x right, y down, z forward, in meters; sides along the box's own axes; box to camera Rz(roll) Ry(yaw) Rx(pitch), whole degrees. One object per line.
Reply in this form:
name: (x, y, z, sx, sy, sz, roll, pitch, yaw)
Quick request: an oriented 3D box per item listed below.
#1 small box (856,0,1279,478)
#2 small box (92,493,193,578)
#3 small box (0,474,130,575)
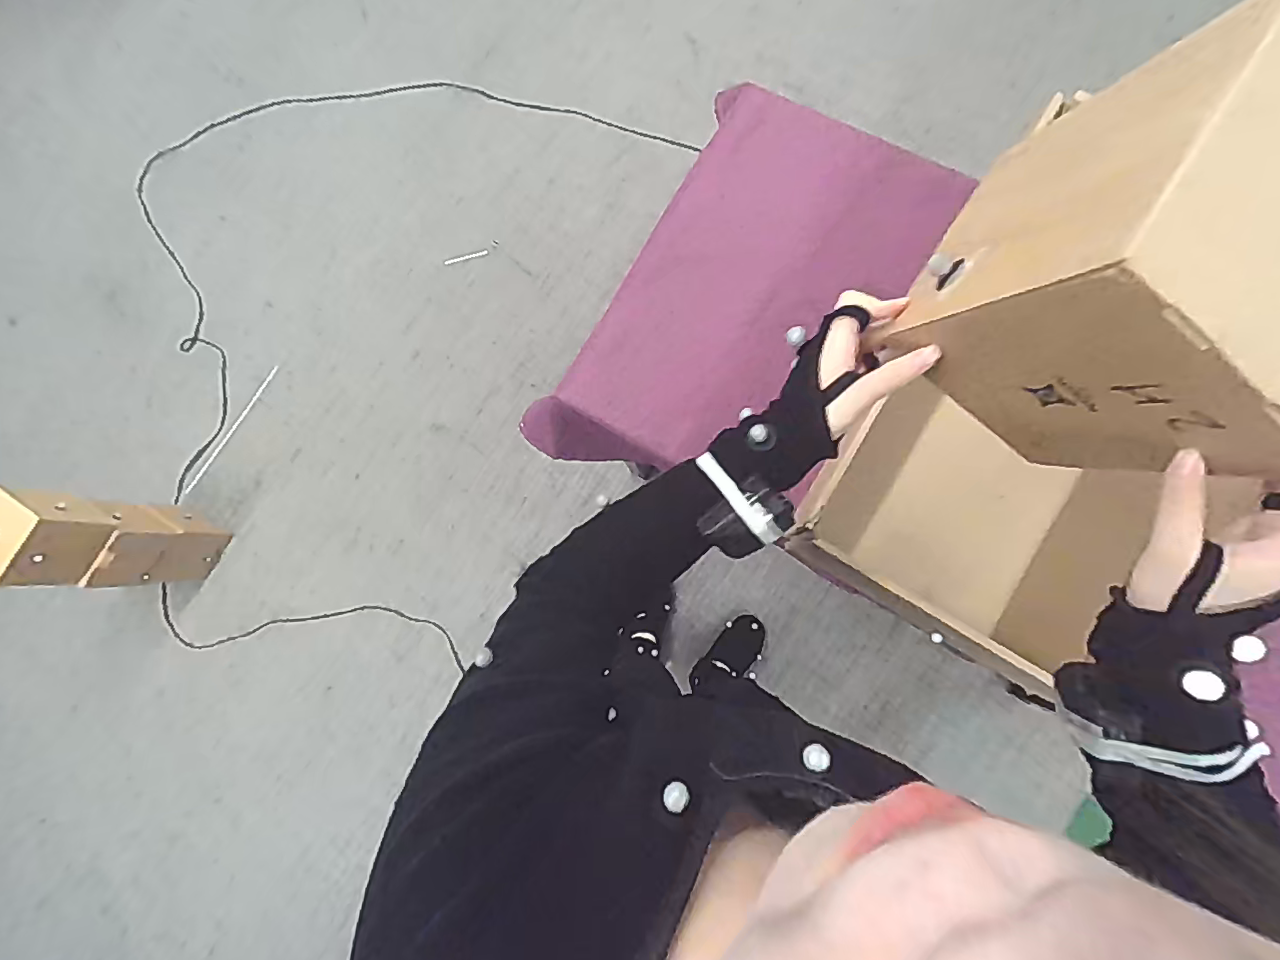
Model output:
small box: (0.283, -0.122, 0.335, 0.168, 0.179, 0.176, 33, 89, -10)
small box: (-1.371, 0.145, 1.454, 0.179, 0.176, 0.168, 30, 87, 11)
small box: (-1.391, 0.109, 1.295, 0.168, 0.176, 0.179, 30, 88, 10)
